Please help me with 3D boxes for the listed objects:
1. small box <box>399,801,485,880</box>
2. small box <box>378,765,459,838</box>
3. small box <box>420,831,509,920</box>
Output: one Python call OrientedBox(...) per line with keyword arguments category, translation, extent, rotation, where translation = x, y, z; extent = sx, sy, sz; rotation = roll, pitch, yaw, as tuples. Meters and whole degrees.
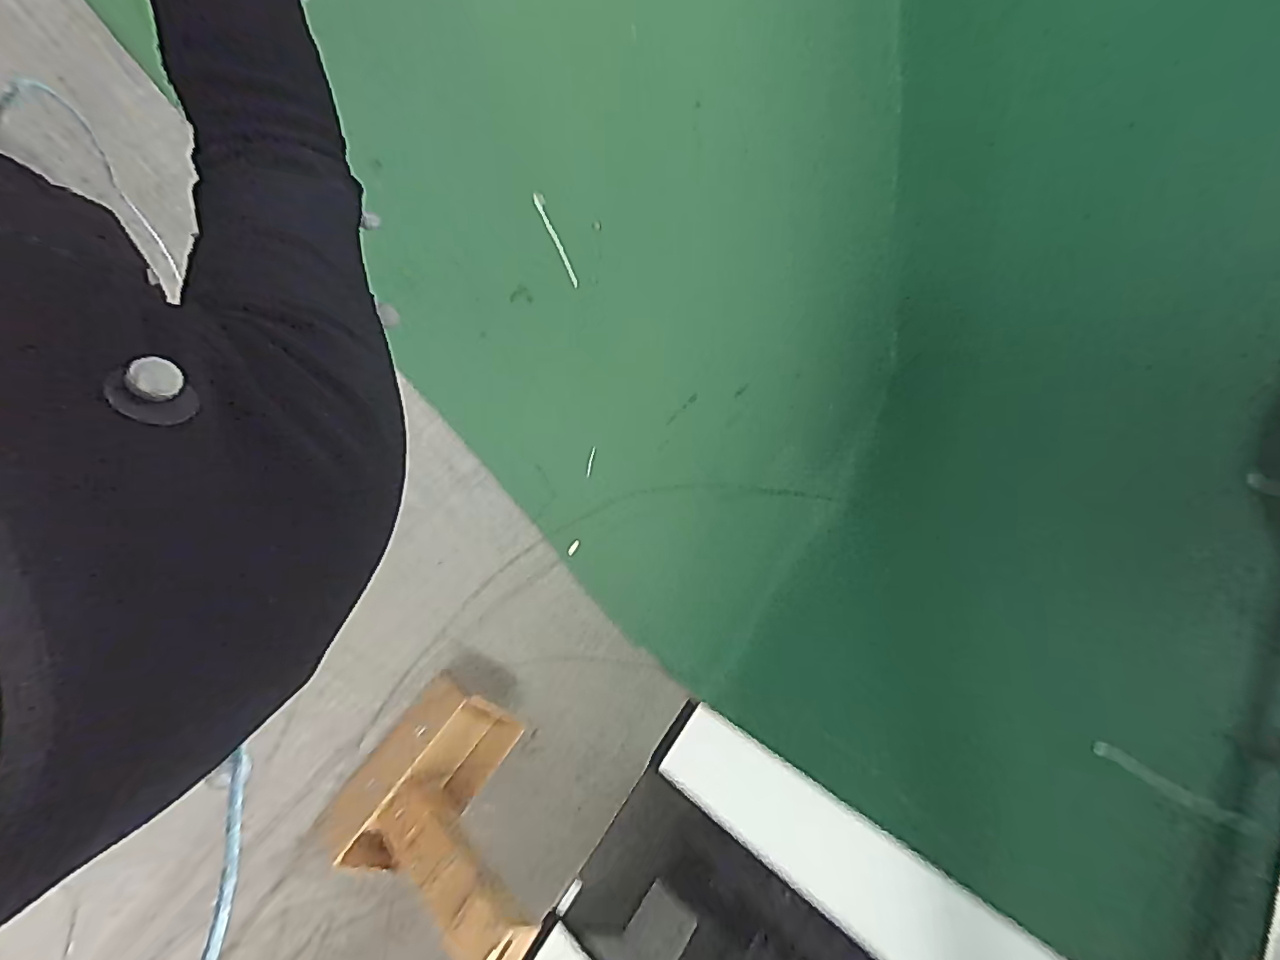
OrientedBox(category="small box", translation=(-0.671, 1.223, 1.827), extent=(0.168, 0.176, 0.179), rotation=(-52, 141, -19))
OrientedBox(category="small box", translation=(-0.797, 1.155, 1.939), extent=(0.168, 0.176, 0.179), rotation=(-56, 142, -16))
OrientedBox(category="small box", translation=(-0.565, 1.263, 1.733), extent=(0.168, 0.176, 0.179), rotation=(-51, 140, -19))
